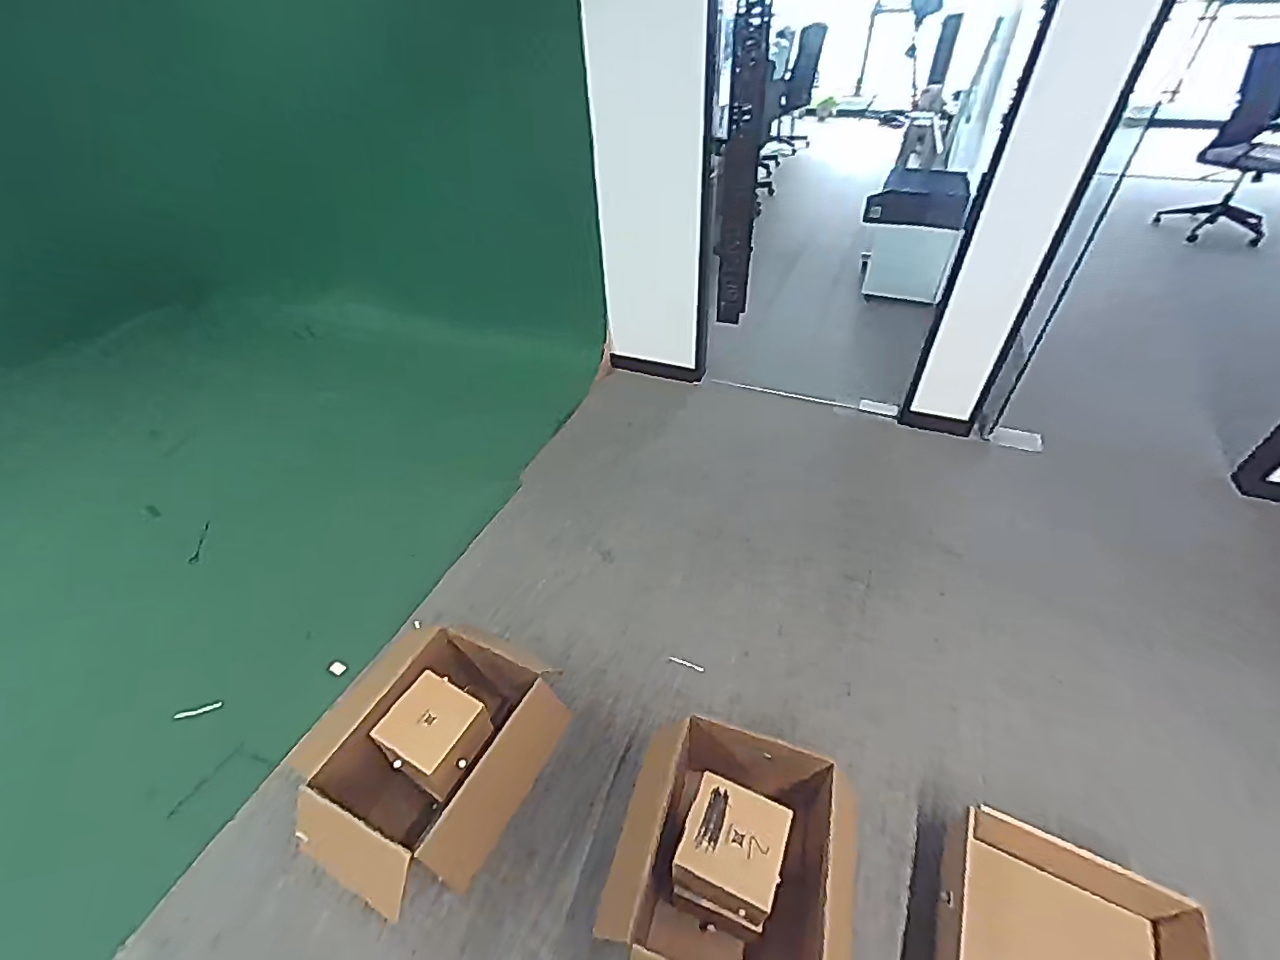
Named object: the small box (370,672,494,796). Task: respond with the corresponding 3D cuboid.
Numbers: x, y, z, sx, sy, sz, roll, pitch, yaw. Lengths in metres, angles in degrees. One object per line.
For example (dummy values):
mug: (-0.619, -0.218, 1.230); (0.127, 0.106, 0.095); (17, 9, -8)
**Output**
small box: (-0.452, 0.571, 1.205); (0.179, 0.176, 0.168); (20, 46, 21)
